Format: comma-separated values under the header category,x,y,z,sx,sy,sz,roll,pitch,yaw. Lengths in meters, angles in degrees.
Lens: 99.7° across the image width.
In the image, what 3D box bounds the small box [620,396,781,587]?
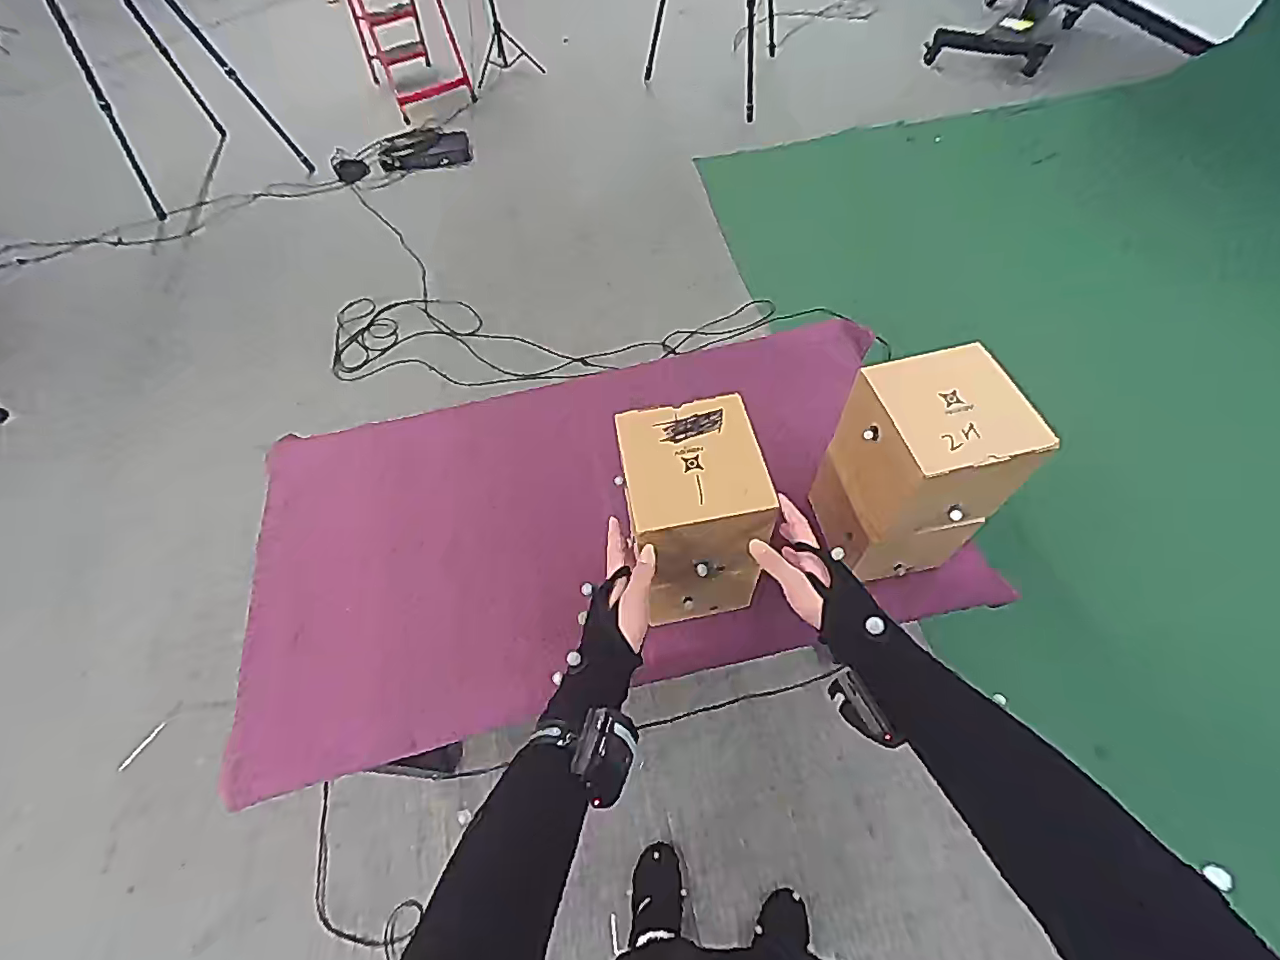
category,x,y,z,sx,sy,sz,roll,pitch,yaw
small box,0.070,0.019,0.711,0.168,0.176,0.179,-10,58,-1

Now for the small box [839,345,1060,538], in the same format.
category,x,y,z,sx,sy,sz,roll,pitch,yaw
small box,0.388,-0.047,0.721,0.168,0.176,0.179,-13,58,-2

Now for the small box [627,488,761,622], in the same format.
category,x,y,z,sx,sy,sz,roll,pitch,yaw
small box,0.081,0.110,0.847,0.168,0.176,0.179,-11,57,-2
